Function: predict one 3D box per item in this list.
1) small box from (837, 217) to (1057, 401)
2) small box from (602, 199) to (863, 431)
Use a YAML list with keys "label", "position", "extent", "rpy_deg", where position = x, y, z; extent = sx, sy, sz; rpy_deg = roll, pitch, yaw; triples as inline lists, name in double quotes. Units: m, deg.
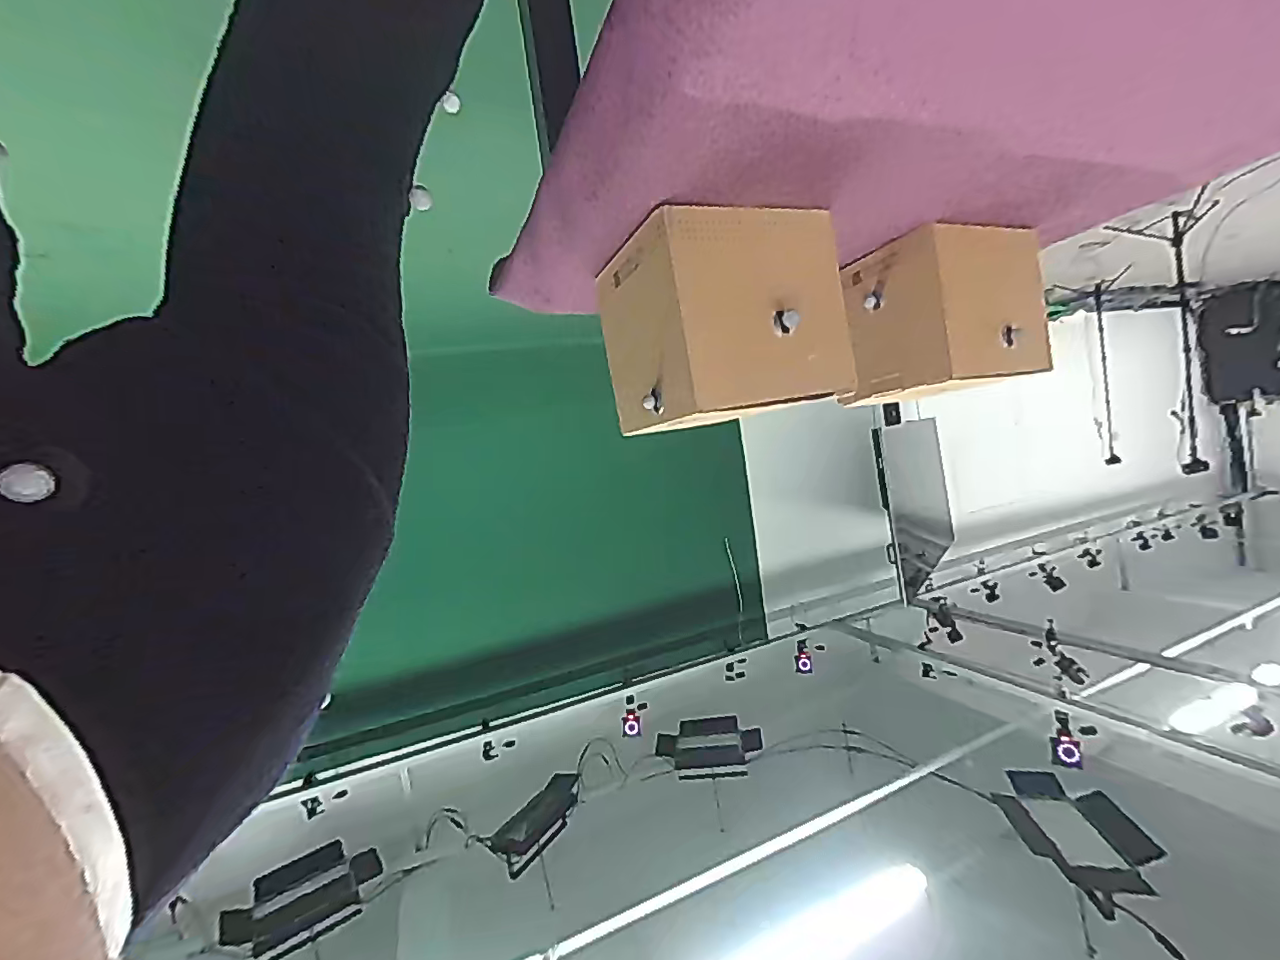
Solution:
- label: "small box"
  position: [0.362, -0.200, 0.659]
  extent: [0.179, 0.176, 0.168]
  rpy_deg: [-8, 180, -23]
- label: "small box"
  position: [0.081, -0.152, 0.527]
  extent: [0.179, 0.176, 0.168]
  rpy_deg: [-12, -178, -23]
